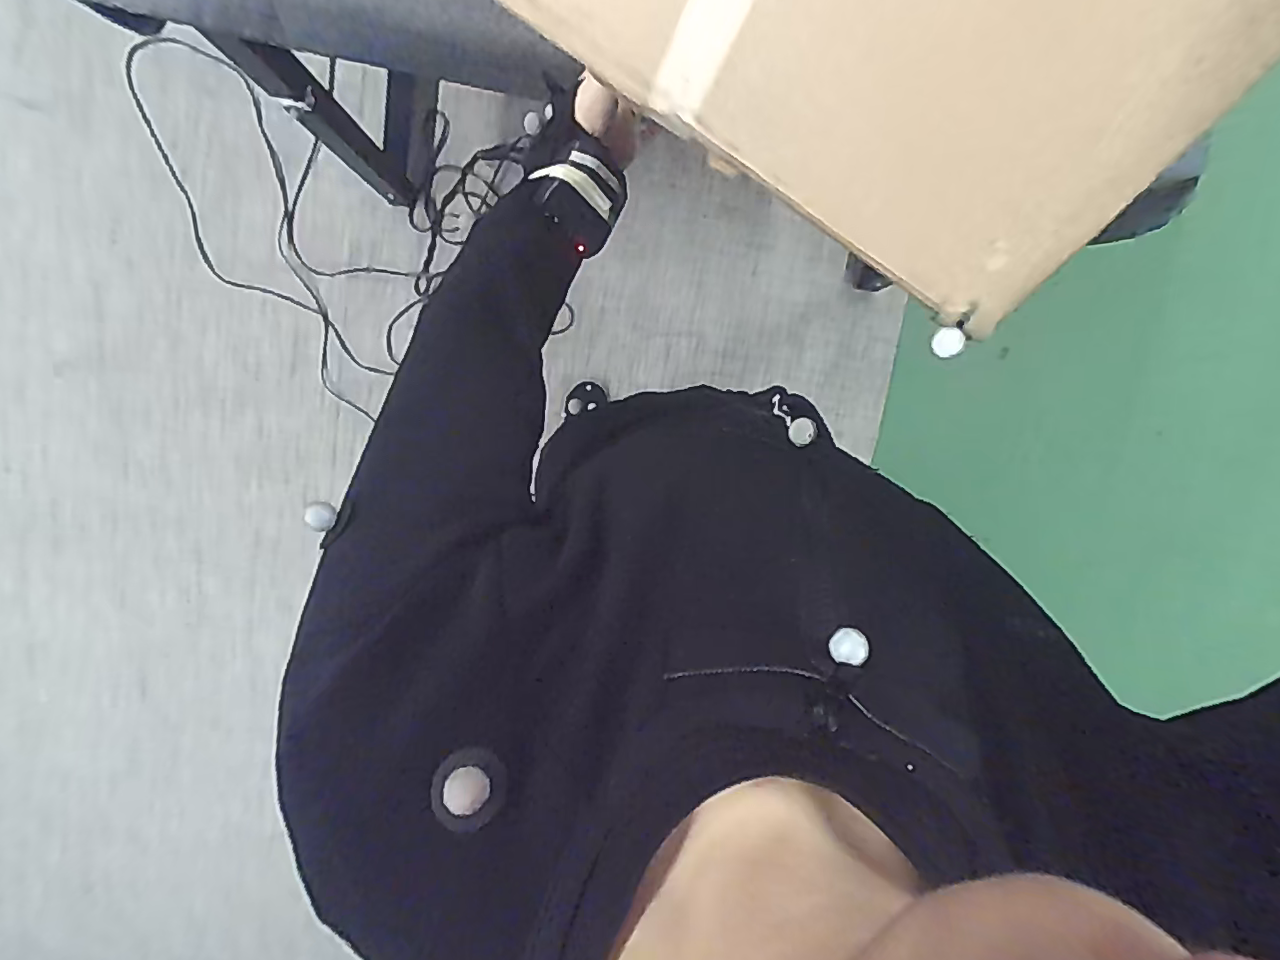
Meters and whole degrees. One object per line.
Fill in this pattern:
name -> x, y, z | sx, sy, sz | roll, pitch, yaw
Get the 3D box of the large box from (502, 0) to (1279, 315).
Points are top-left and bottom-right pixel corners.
large box -> 0.168, -0.362, 0.236 | 0.320, 0.320, 0.408 | 35, 128, 1
